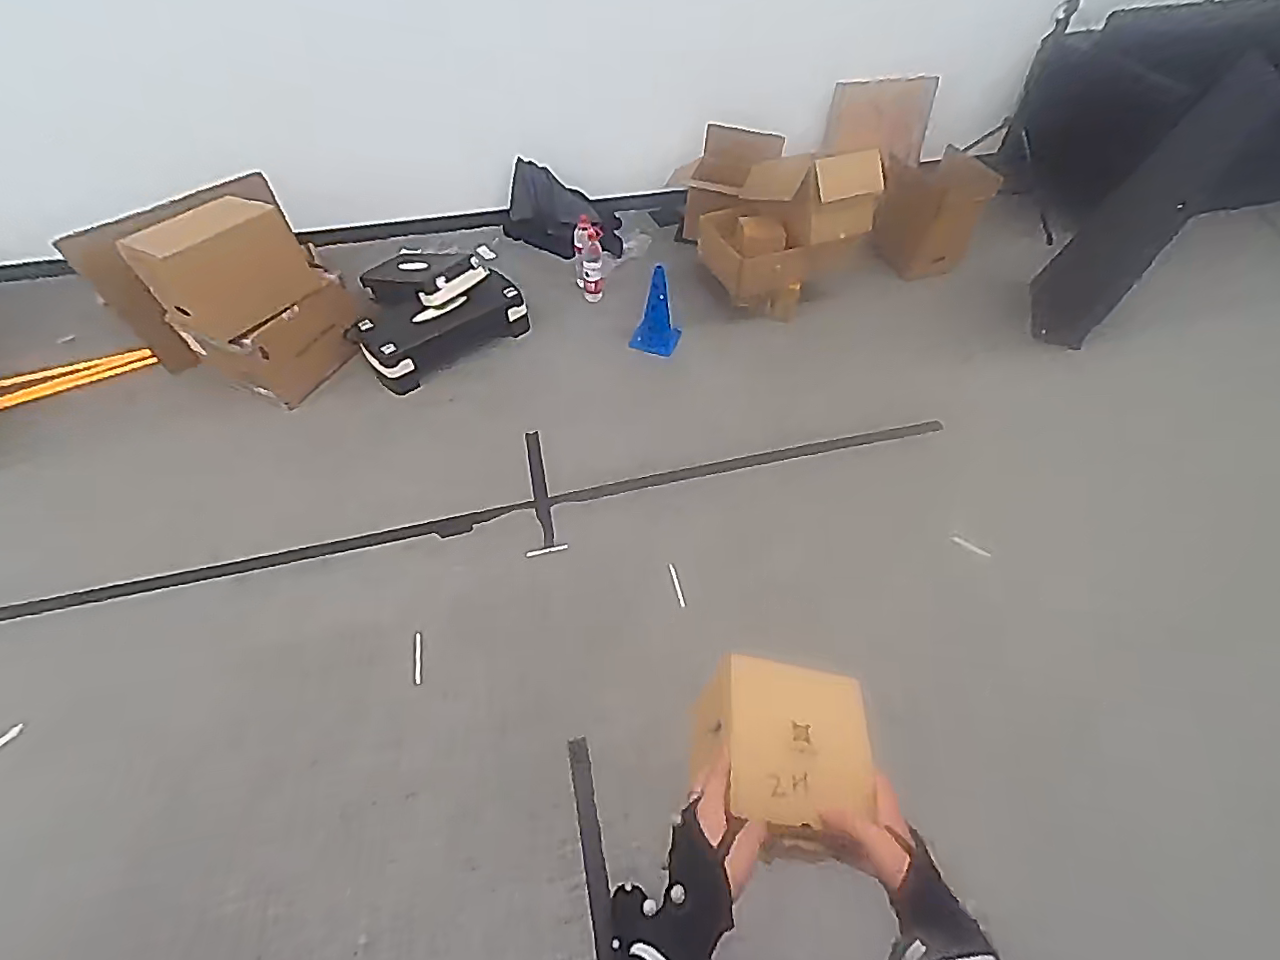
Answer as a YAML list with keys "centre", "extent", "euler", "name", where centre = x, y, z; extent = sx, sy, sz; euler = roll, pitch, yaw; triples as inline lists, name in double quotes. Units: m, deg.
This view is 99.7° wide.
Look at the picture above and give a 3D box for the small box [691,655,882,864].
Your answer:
- centre: [0.165, 0.344, 0.662]
  extent: [0.168, 0.176, 0.179]
  euler: [12, 49, -3]
  name: "small box"
